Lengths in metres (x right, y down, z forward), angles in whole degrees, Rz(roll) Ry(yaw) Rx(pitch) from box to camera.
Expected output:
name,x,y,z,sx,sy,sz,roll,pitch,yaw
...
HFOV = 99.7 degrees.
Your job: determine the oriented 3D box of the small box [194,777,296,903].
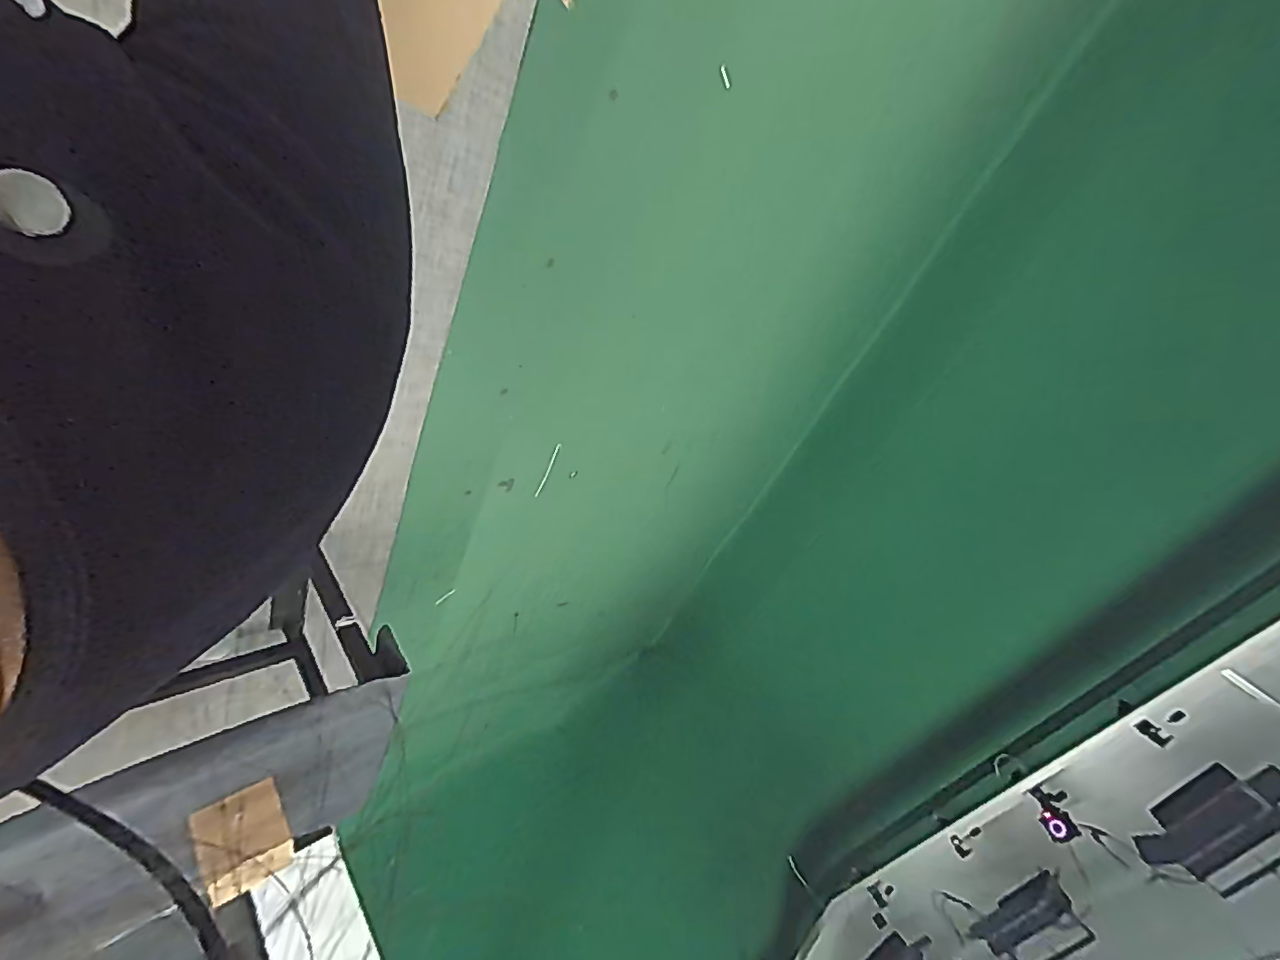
name,x,y,z,sx,sy,sz,roll,pitch,yaw
small box,-0.955,0.865,1.312,0.168,0.176,0.179,-15,141,-43
